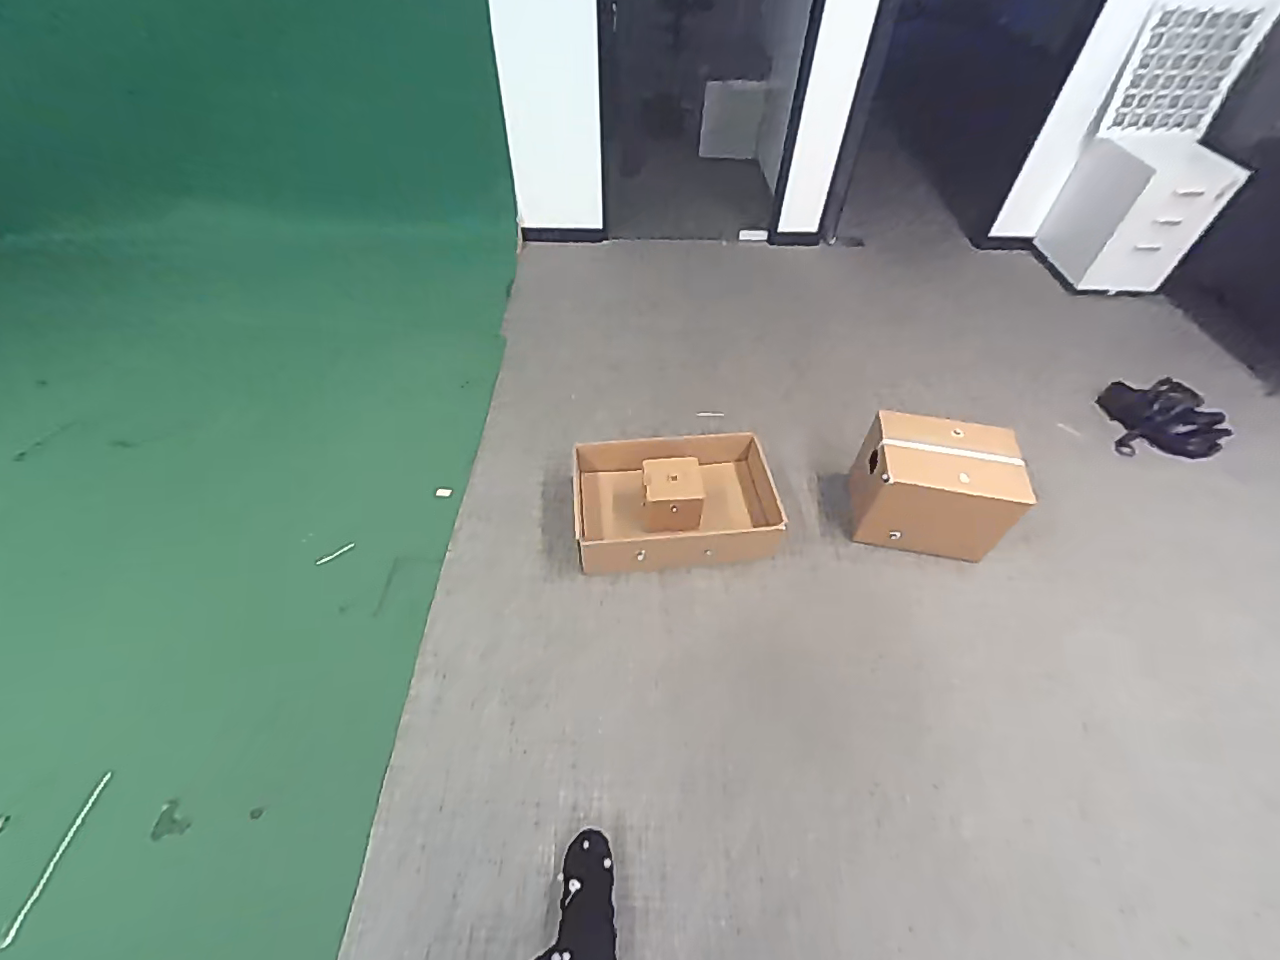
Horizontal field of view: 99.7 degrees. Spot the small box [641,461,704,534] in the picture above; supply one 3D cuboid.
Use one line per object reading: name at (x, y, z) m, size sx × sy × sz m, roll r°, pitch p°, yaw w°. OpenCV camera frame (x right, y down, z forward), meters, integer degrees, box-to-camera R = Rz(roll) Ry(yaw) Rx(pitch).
small box at (0.096, 0.059, 1.712) m, size 0.179 × 0.176 × 0.168 m, roll -2°, pitch 50°, yaw -6°
